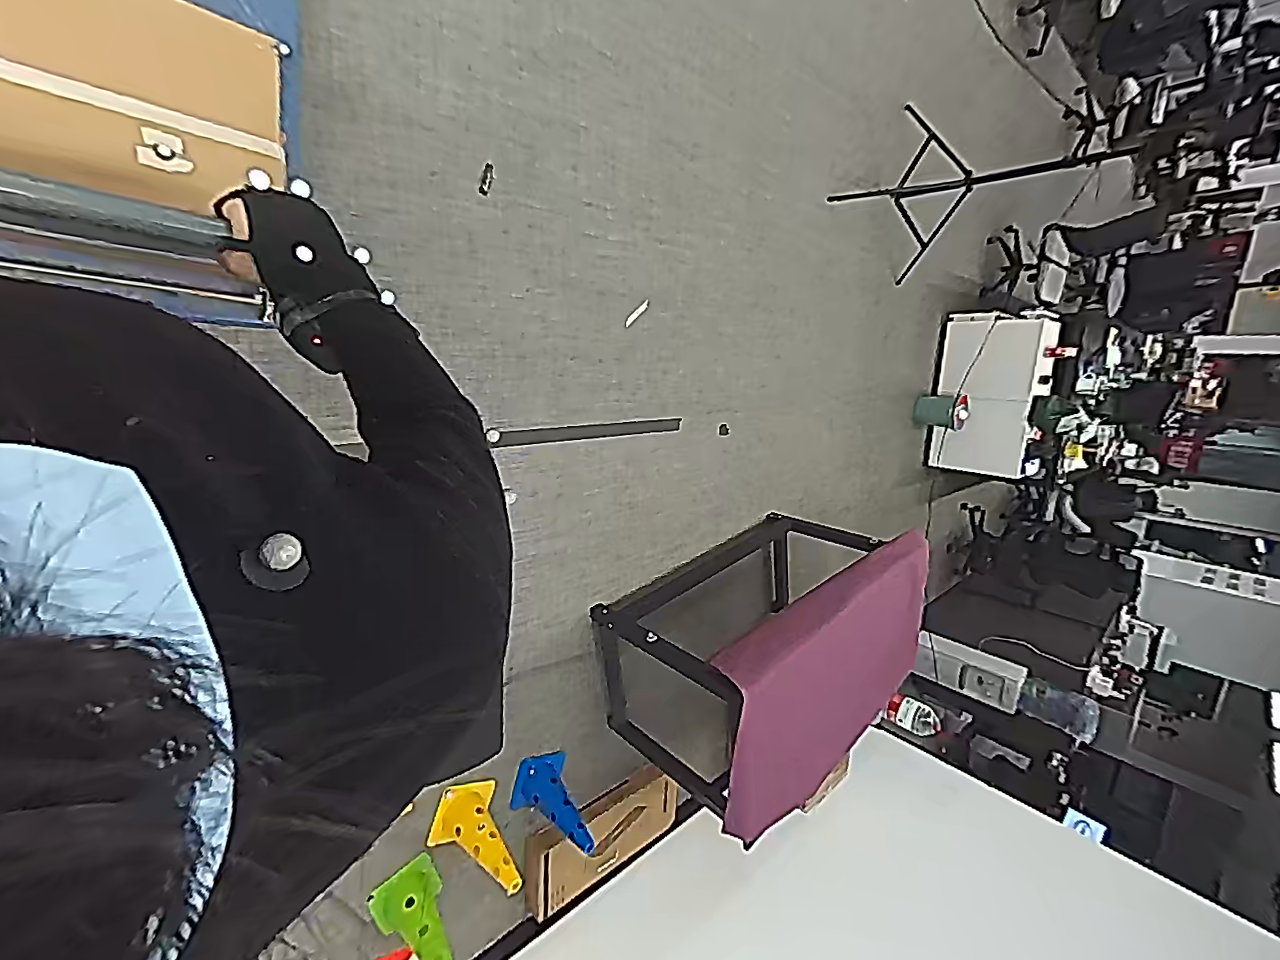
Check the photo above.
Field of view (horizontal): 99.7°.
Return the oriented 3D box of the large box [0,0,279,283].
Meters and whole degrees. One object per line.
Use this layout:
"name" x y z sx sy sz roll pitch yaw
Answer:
"large box" -0.798 -0.497 0.790 0.408 0.320 0.320 -3 102 -43
